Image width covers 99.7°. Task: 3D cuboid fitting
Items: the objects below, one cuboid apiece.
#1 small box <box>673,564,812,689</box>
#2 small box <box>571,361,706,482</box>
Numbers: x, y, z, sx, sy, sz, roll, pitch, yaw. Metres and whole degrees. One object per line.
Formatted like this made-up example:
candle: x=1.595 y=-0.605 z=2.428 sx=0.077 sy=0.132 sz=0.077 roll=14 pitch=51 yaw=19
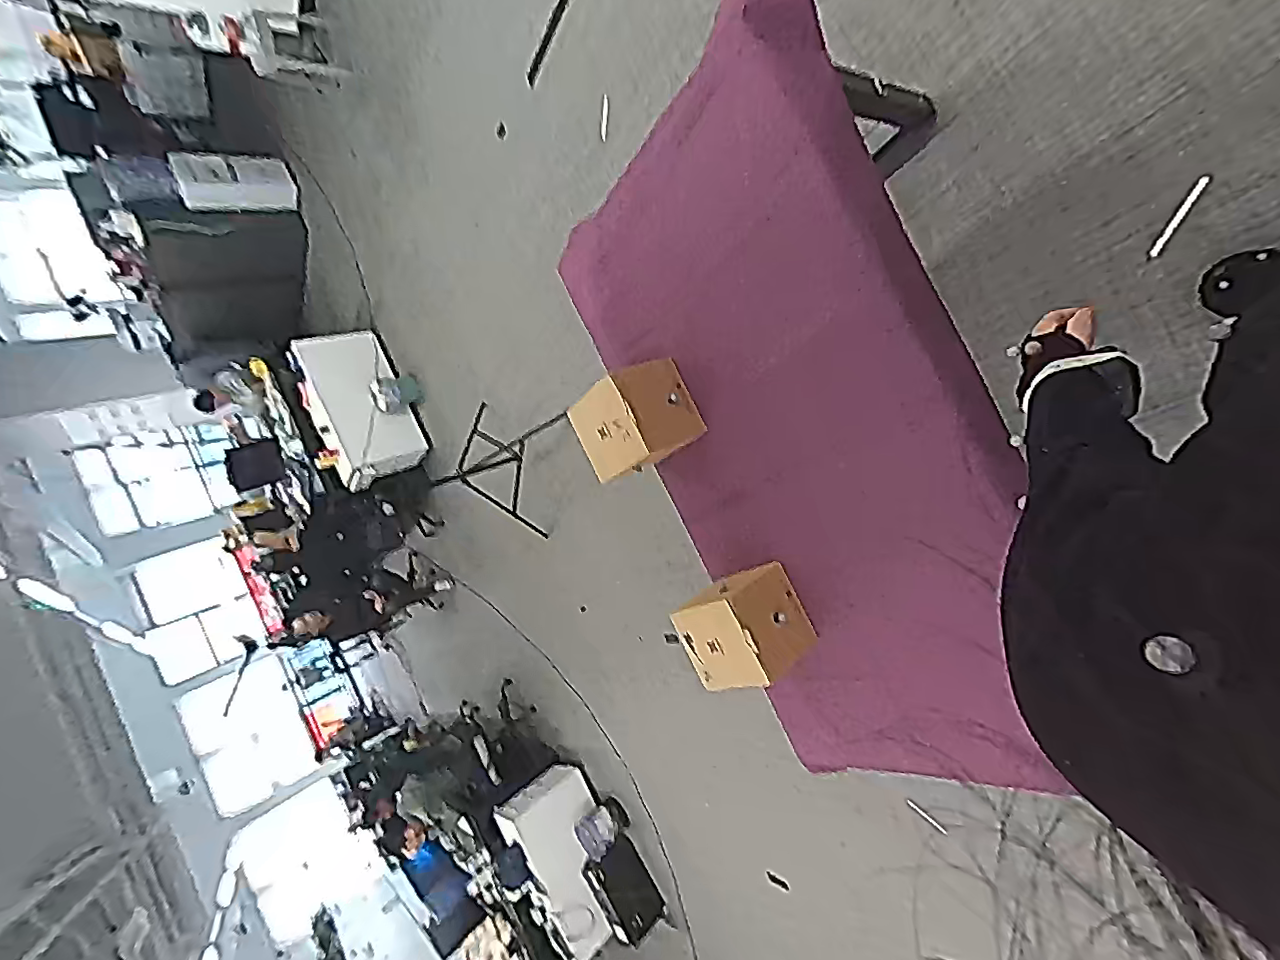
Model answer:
small box: x=0.203 y=0.278 z=1.036 sx=0.179 sy=0.176 sz=0.168 roll=-32 pitch=83 yaw=49
small box: x=-0.002 y=-0.118 z=1.079 sx=0.179 sy=0.176 sz=0.168 roll=-31 pitch=85 yaw=50
